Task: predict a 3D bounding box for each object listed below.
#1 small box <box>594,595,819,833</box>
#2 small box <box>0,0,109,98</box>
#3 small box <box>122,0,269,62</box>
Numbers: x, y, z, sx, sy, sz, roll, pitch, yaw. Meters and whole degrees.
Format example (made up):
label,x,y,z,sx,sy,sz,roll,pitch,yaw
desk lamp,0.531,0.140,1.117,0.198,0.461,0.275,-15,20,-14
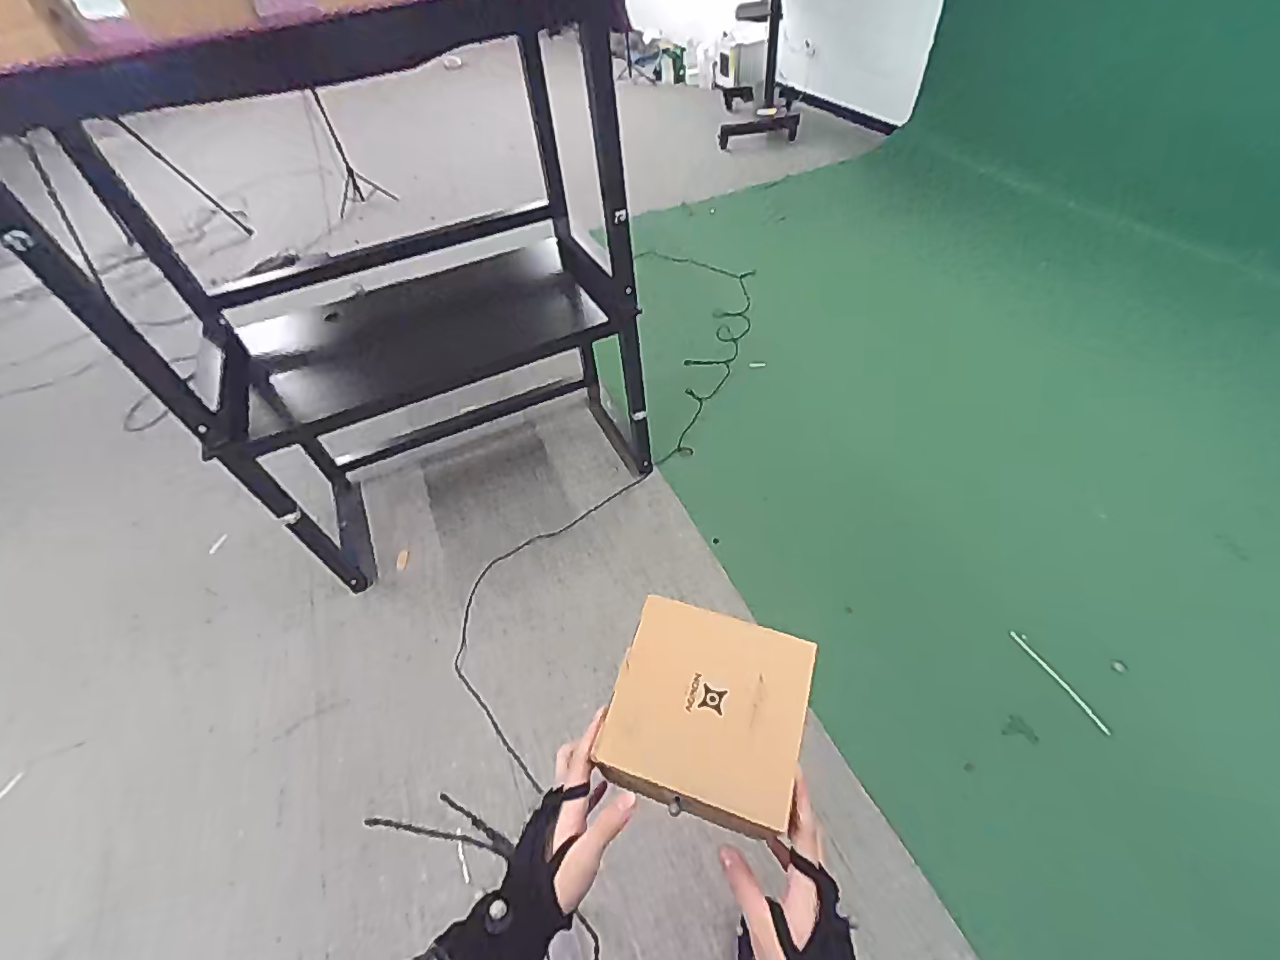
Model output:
label,x,y,z,sx,sy,sz,roll,pitch,yaw
small box,0.072,0.249,0.567,0.179,0.176,0.168,14,57,15
small box,-1.042,-0.742,0.878,0.179,0.176,0.168,-21,49,-12
small box,-0.790,-0.854,0.939,0.179,0.176,0.168,-21,49,-10
